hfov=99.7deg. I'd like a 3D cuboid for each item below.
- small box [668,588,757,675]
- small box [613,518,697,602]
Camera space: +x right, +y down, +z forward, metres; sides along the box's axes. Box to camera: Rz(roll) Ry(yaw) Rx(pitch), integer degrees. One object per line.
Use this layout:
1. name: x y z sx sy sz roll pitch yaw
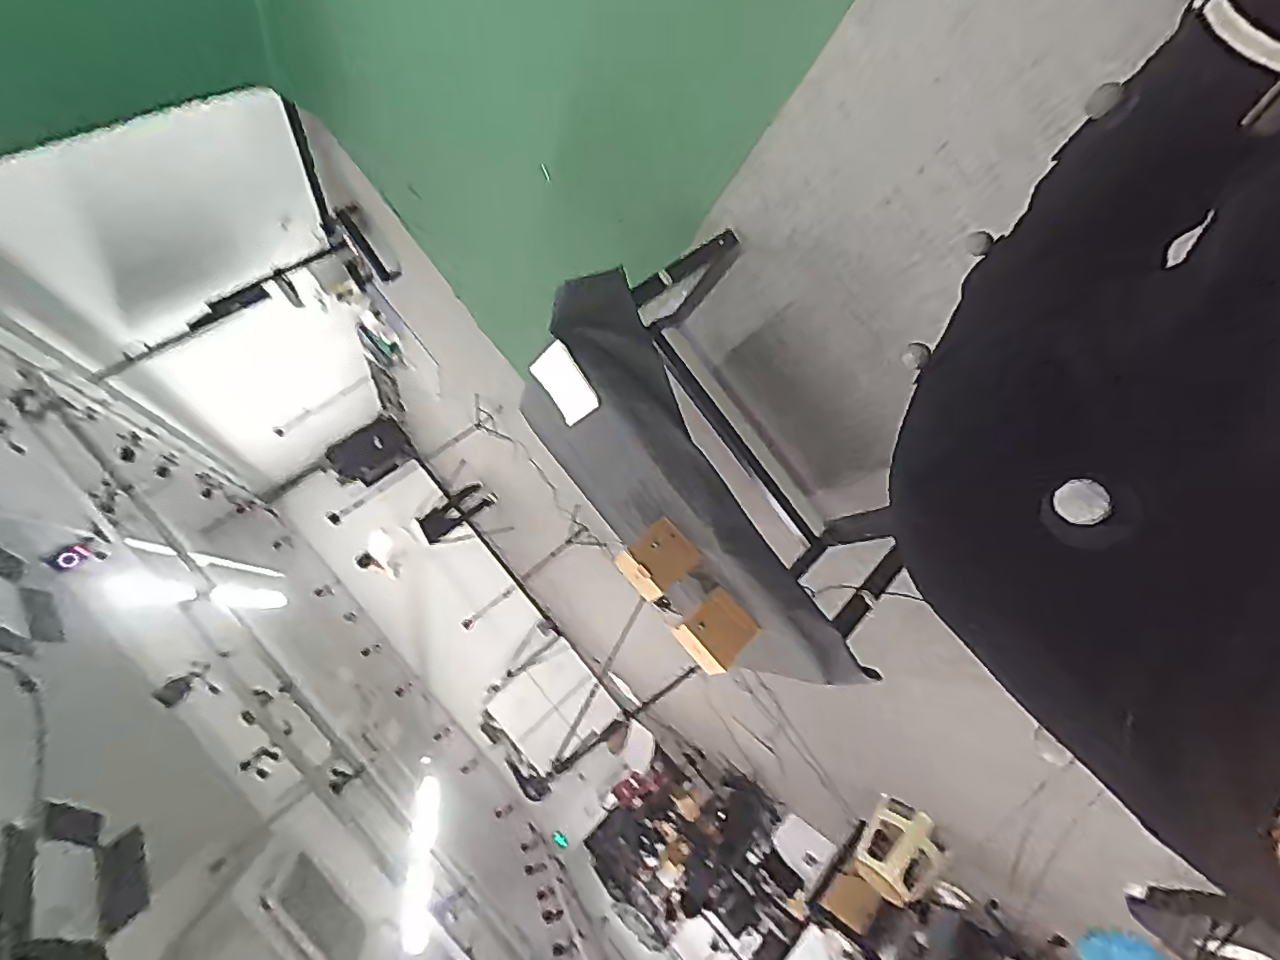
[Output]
1. small box: 0.215 0.449 1.603 0.179 0.176 0.168 48 157 10
2. small box: 0.046 0.237 1.607 0.168 0.176 0.179 50 158 8
